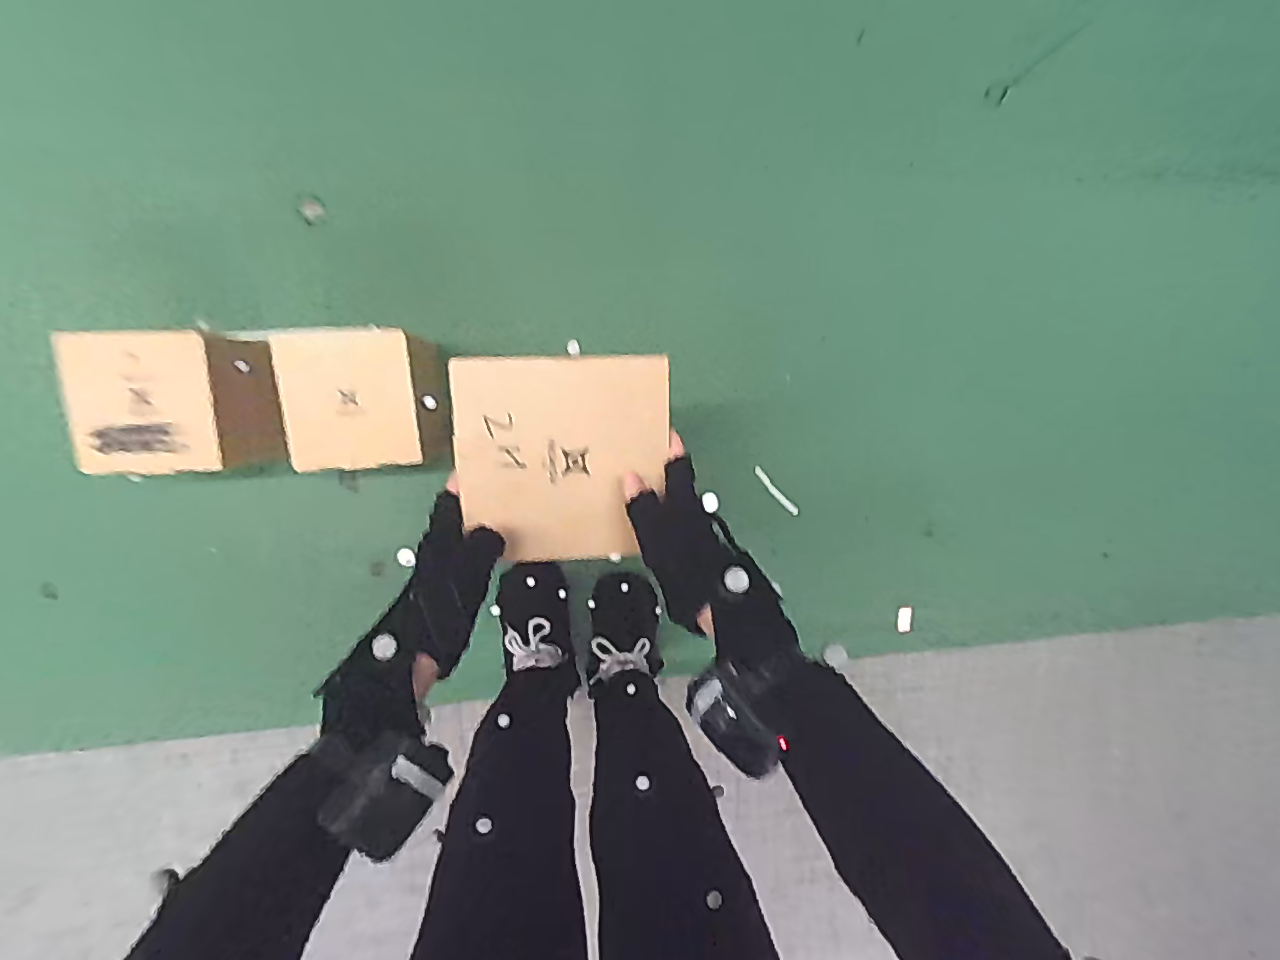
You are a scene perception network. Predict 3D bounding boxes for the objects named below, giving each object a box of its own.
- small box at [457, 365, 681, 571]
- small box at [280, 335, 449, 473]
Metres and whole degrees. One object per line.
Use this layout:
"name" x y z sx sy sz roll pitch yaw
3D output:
"small box" -0.065 -0.021 0.510 0.179 0.176 0.168 -1 99 -7
"small box" -0.386 -0.112 0.790 0.168 0.176 0.179 -4 101 -7
